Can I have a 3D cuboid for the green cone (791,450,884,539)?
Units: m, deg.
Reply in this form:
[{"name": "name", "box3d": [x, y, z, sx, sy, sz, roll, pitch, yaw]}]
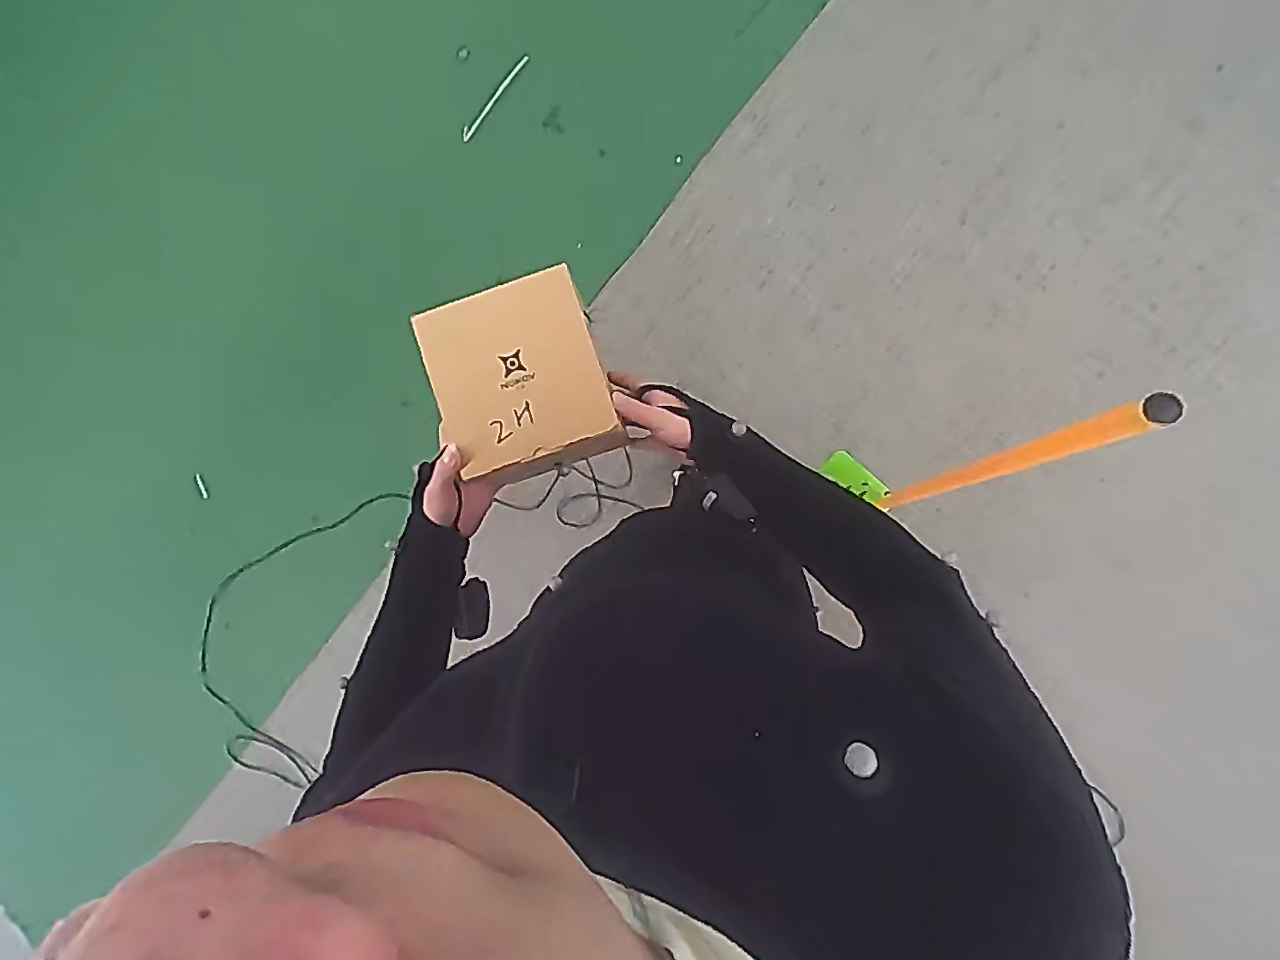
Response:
[{"name": "green cone", "box3d": [0.544, 0.047, 1.392, 0.200, 0.368, 0.202, 42, 97, 5]}]
